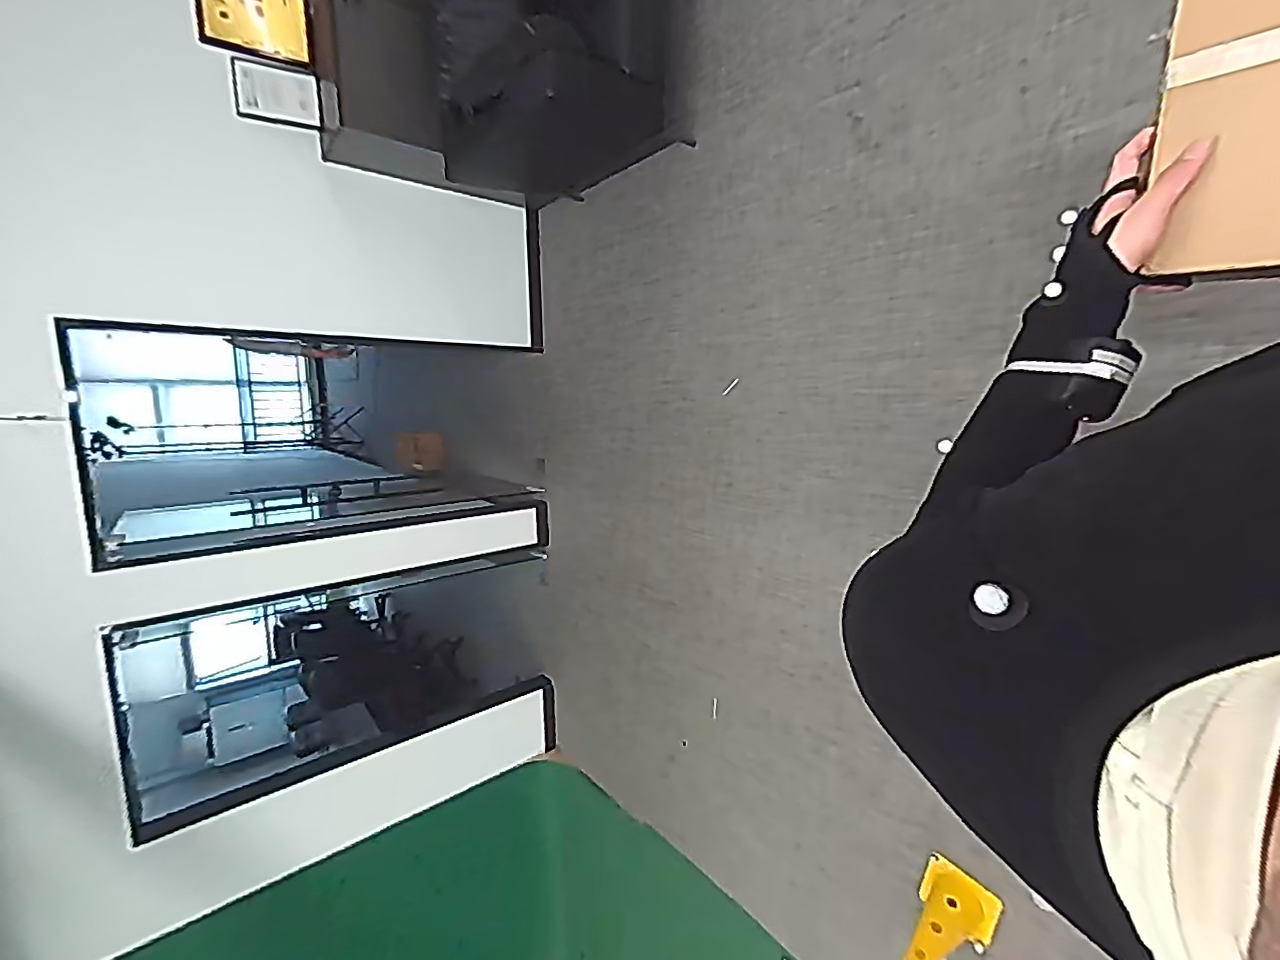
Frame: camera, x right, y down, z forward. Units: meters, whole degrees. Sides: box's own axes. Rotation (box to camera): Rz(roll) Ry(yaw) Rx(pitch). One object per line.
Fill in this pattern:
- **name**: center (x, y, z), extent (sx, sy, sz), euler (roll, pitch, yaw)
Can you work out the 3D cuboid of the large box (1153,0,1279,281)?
- **large box**: center (0.687, -0.338, 0.397), extent (0.408, 0.320, 0.320), euler (12, 112, 47)
